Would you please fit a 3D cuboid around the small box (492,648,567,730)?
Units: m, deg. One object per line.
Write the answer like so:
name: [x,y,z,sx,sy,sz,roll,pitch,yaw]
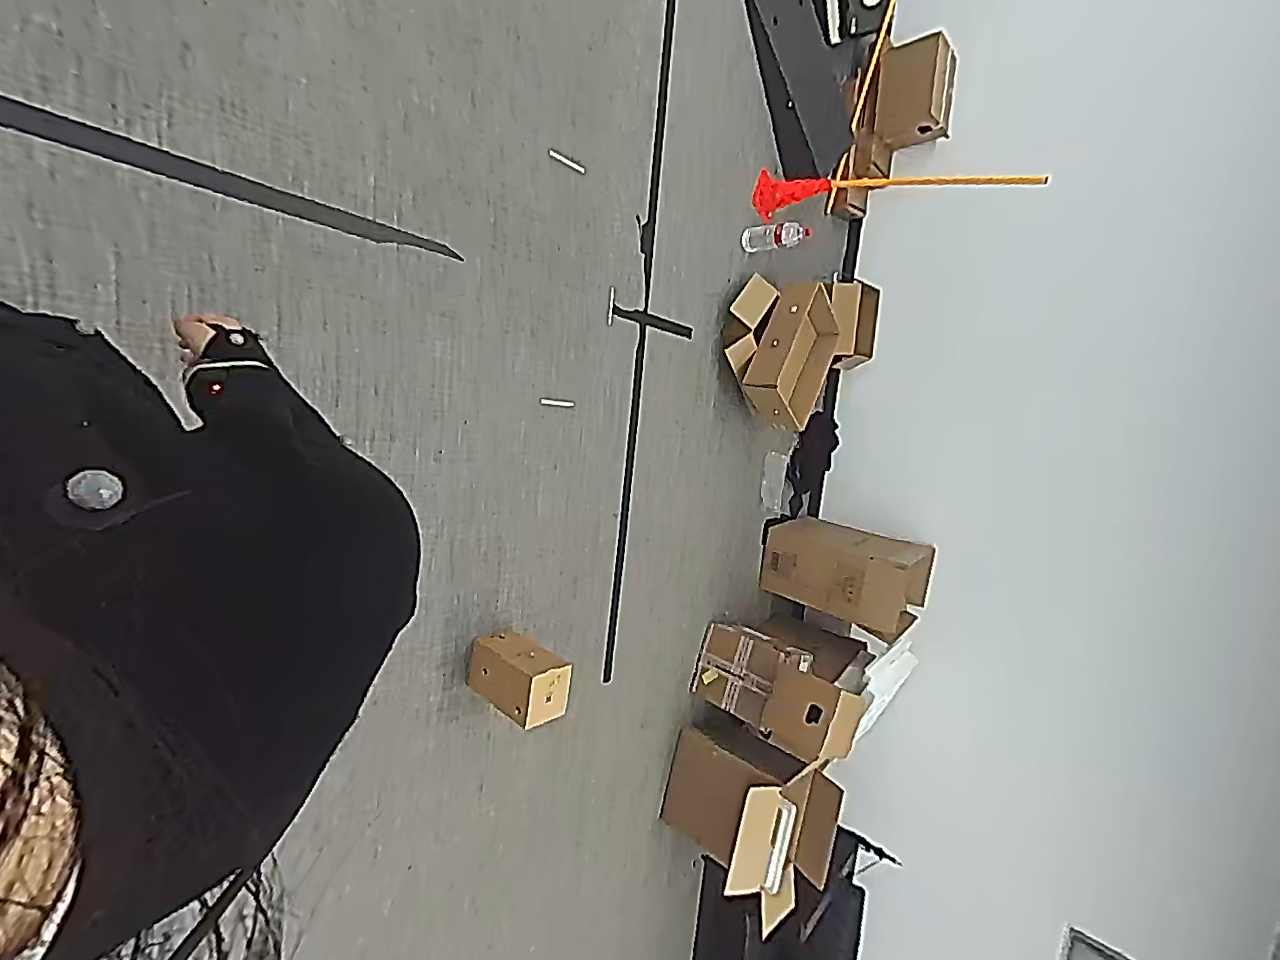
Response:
small box: [-0.361,0.670,1.752,0.168,0.176,0.179,3,97,-51]
